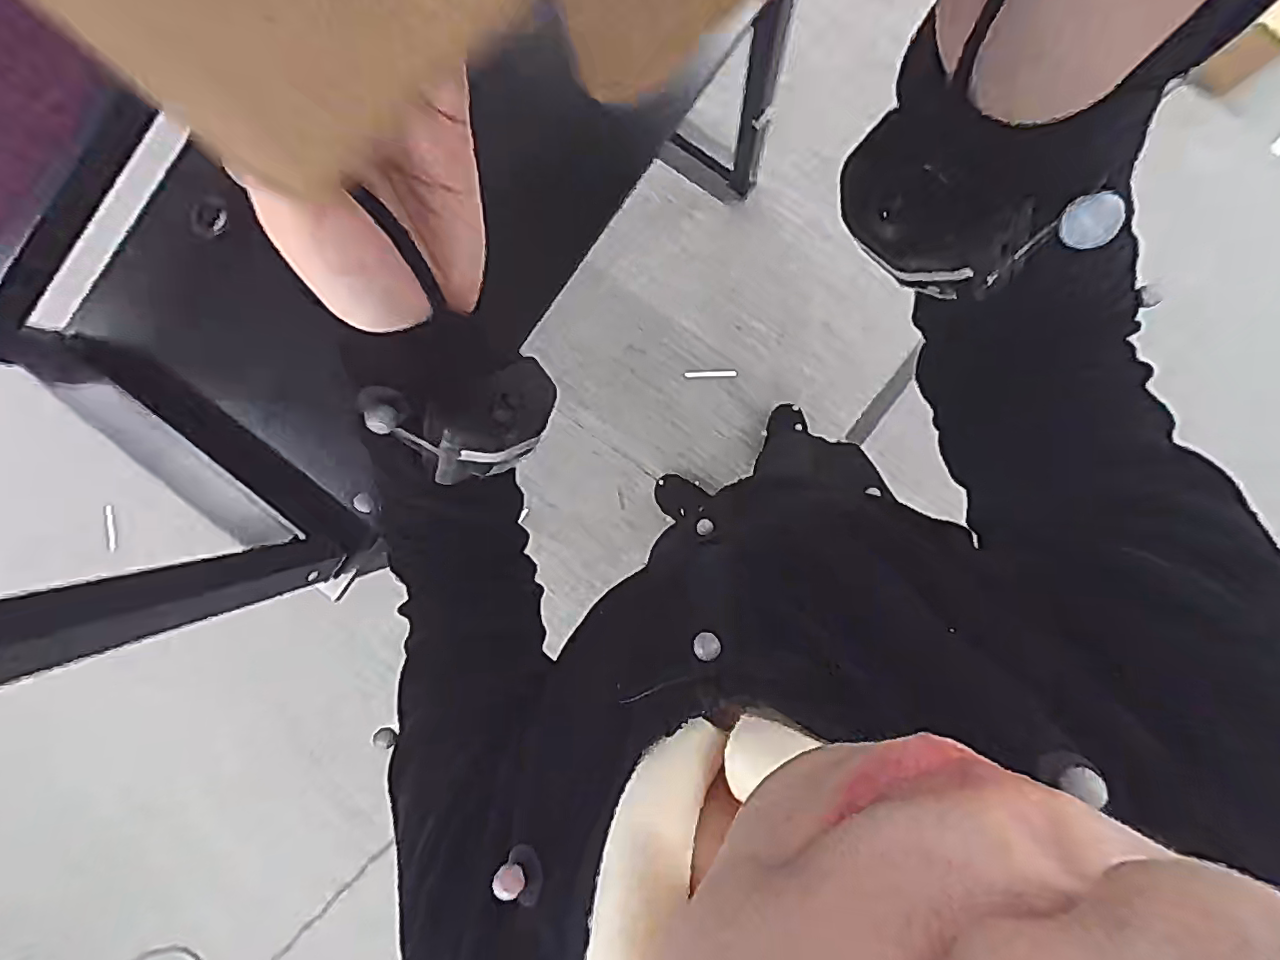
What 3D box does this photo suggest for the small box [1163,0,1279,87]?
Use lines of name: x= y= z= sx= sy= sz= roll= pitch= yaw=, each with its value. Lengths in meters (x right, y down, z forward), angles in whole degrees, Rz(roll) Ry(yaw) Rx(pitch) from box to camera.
small box: x=1.412 y=-1.073 z=1.264 sx=0.179 sy=0.176 sz=0.168 roll=35 pitch=94 yaw=3
